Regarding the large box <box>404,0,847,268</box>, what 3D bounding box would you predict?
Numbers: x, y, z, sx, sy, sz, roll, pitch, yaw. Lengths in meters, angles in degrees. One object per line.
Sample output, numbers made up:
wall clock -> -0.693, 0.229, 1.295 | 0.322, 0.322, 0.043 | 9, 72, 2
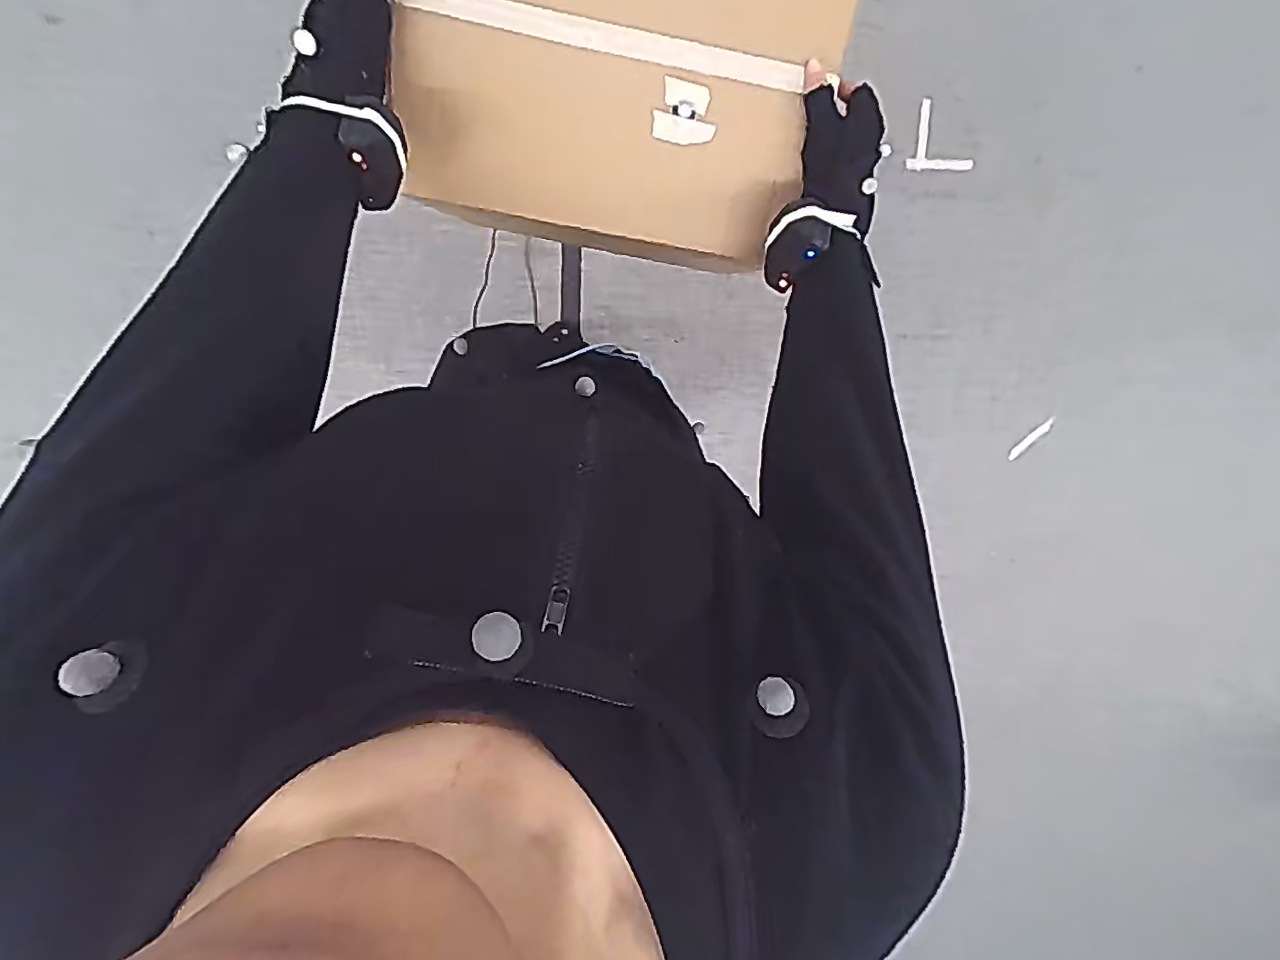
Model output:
large box -> -0.026, -0.447, 0.642 | 0.408, 0.320, 0.320 | 7, 110, -7
